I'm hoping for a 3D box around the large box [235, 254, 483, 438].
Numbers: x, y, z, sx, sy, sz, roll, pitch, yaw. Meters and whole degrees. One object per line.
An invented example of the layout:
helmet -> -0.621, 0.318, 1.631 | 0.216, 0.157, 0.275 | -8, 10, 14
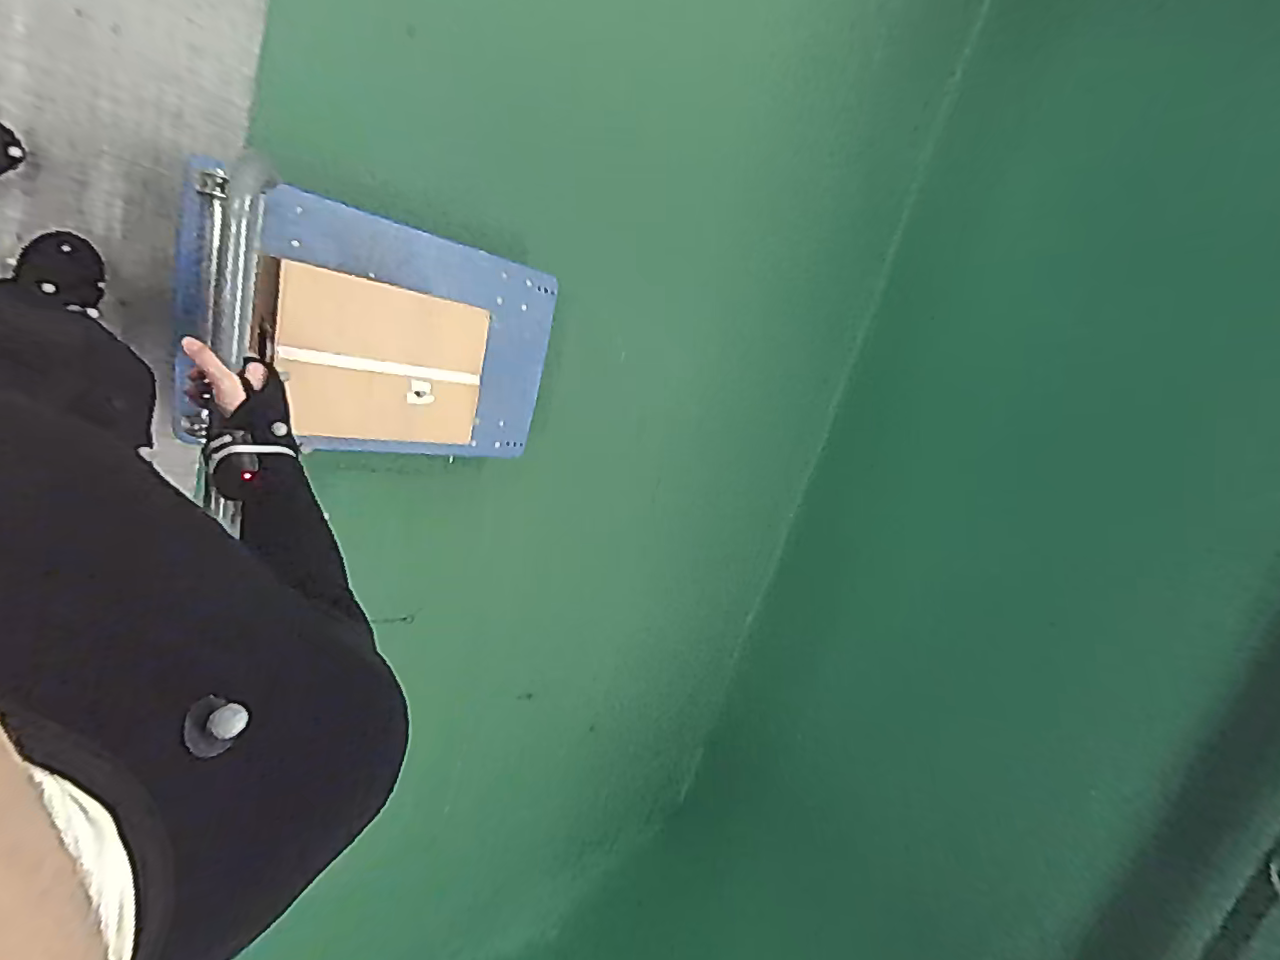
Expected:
large box -> -0.623, -0.288, 1.200 | 0.408, 0.320, 0.320 | 0, 109, -46
